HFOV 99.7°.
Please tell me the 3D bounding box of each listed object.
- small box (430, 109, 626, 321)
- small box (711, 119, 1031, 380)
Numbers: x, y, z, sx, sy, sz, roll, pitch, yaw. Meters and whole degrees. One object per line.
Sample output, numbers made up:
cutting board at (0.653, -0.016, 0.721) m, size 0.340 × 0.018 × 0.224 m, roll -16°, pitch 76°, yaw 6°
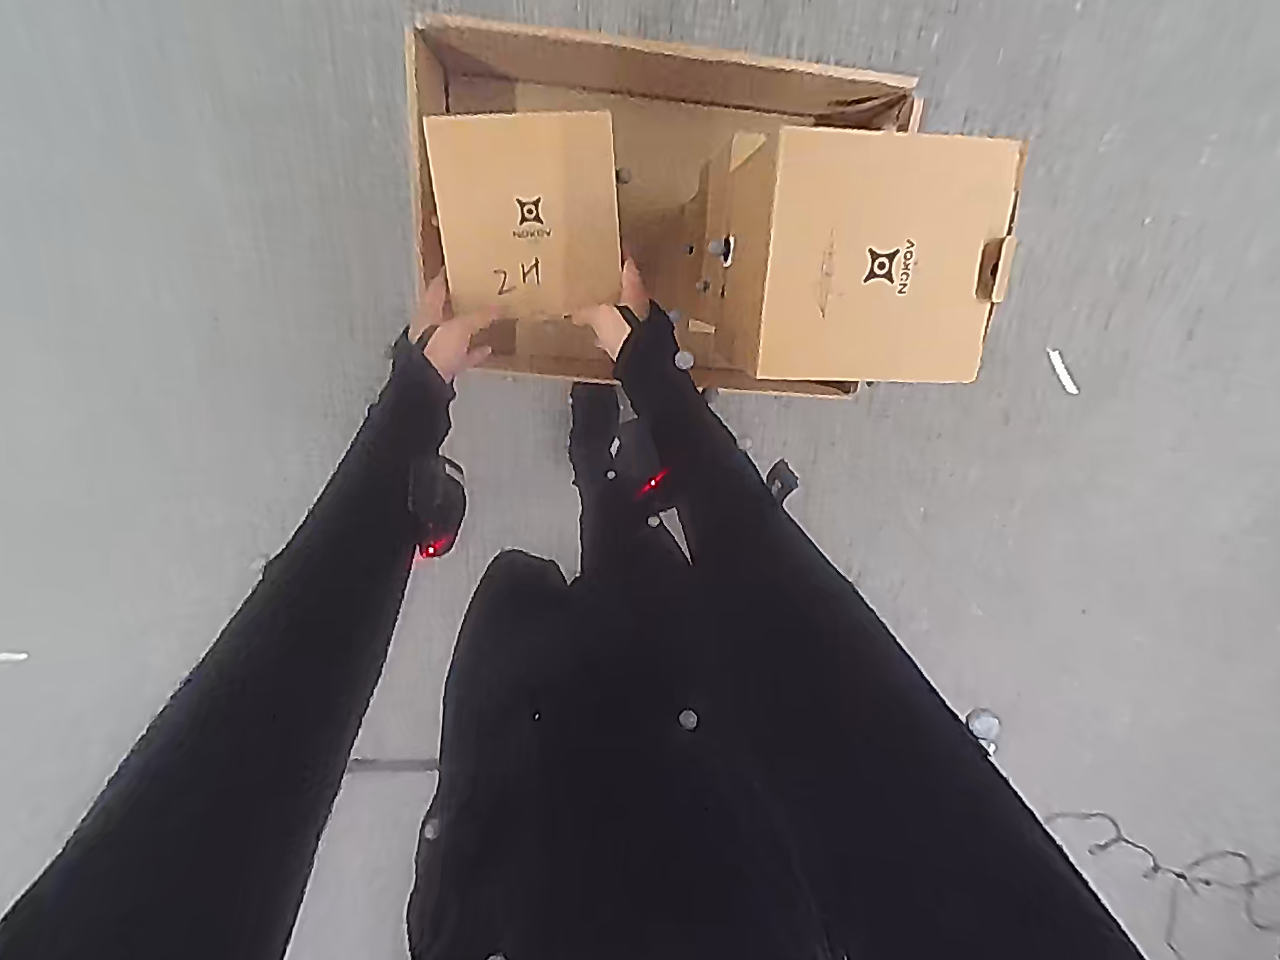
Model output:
small box at (-0.107, -0.264, 0.574) m, size 0.168 × 0.176 × 0.179 m, roll -5°, pitch 108°, yaw -4°
small box at (0.168, -0.181, 0.457) m, size 0.179 × 0.176 × 0.168 m, roll 0°, pitch 109°, yaw -5°
